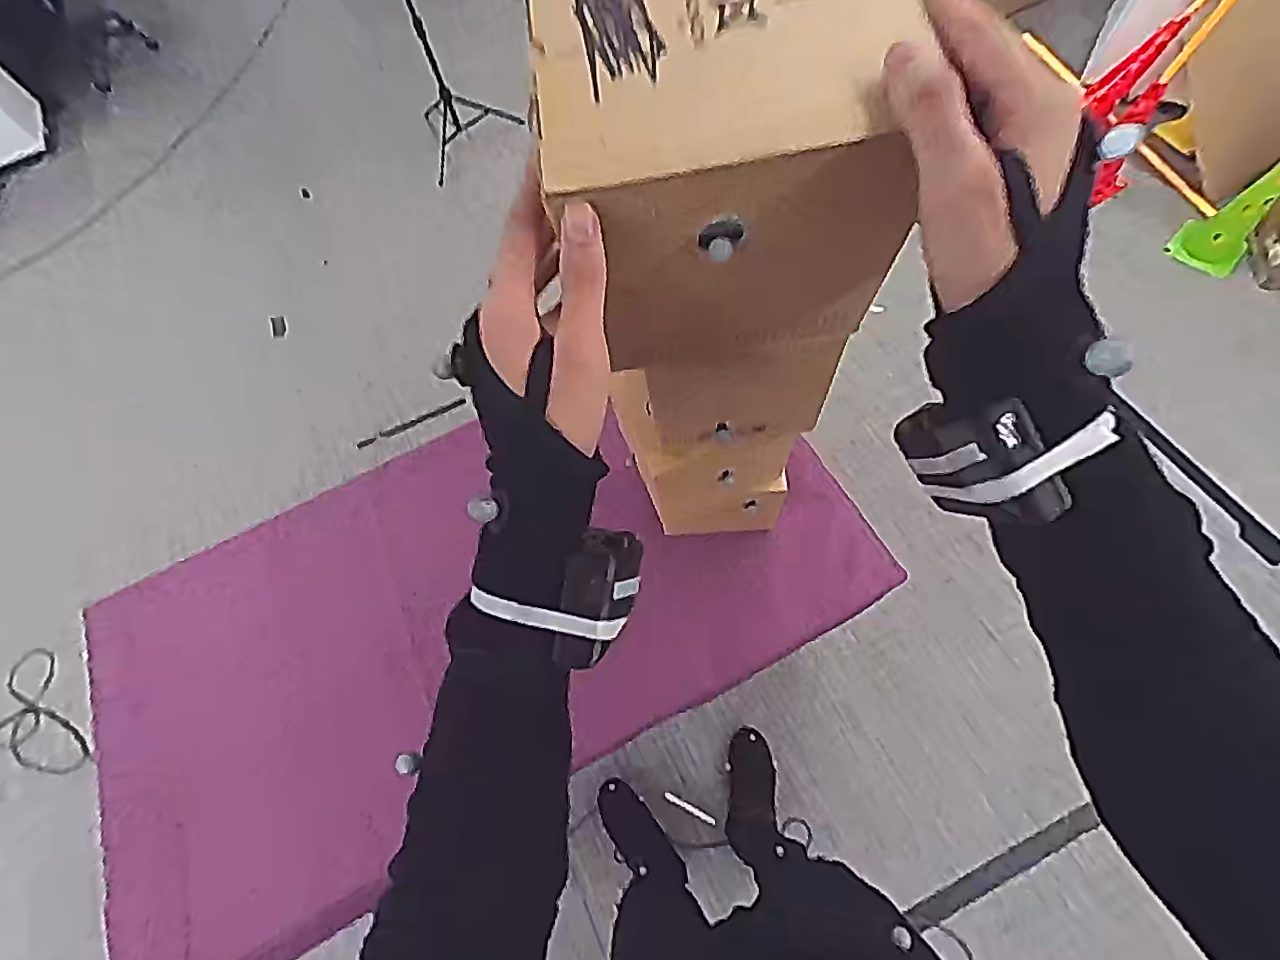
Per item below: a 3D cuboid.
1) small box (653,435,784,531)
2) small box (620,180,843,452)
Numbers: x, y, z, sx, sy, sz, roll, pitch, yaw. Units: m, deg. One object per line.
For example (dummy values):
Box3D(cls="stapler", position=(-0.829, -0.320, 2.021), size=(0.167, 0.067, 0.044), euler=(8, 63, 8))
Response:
Box3D(cls="small box", position=(0.112, -0.026, 0.829), size=(0.179, 0.176, 0.168), euler=(-4, 67, 5))
Box3D(cls="small box", position=(0.078, -0.148, 0.526), size=(0.168, 0.176, 0.179), euler=(-8, 68, 5))
